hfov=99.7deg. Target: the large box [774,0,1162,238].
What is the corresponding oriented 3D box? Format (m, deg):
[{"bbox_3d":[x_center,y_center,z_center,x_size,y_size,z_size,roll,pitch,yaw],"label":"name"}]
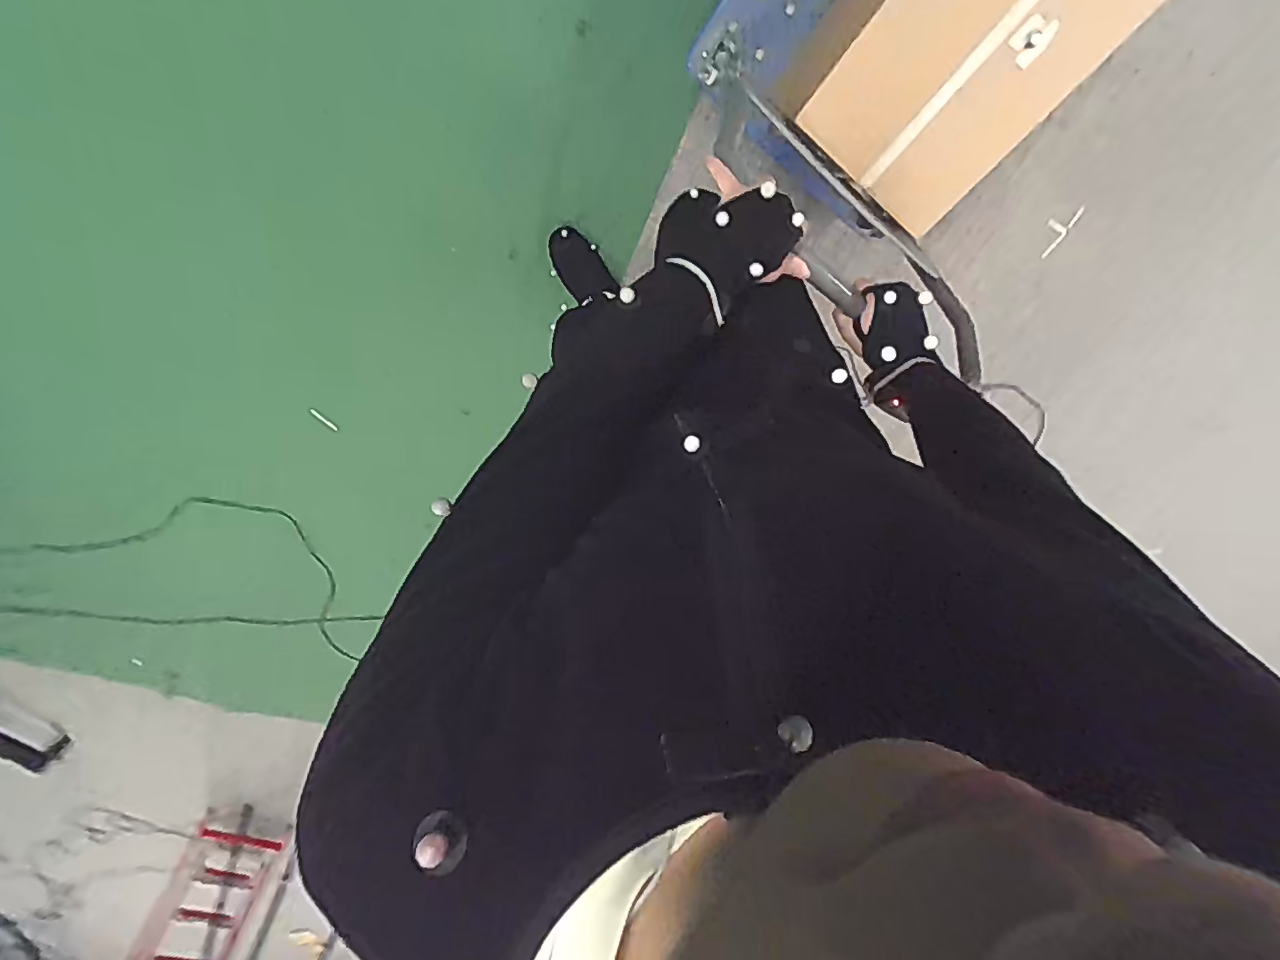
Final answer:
[{"bbox_3d":[0.489,-0.707,0.904,0.320,0.320,0.408,30,126,-22],"label":"large box"}]
